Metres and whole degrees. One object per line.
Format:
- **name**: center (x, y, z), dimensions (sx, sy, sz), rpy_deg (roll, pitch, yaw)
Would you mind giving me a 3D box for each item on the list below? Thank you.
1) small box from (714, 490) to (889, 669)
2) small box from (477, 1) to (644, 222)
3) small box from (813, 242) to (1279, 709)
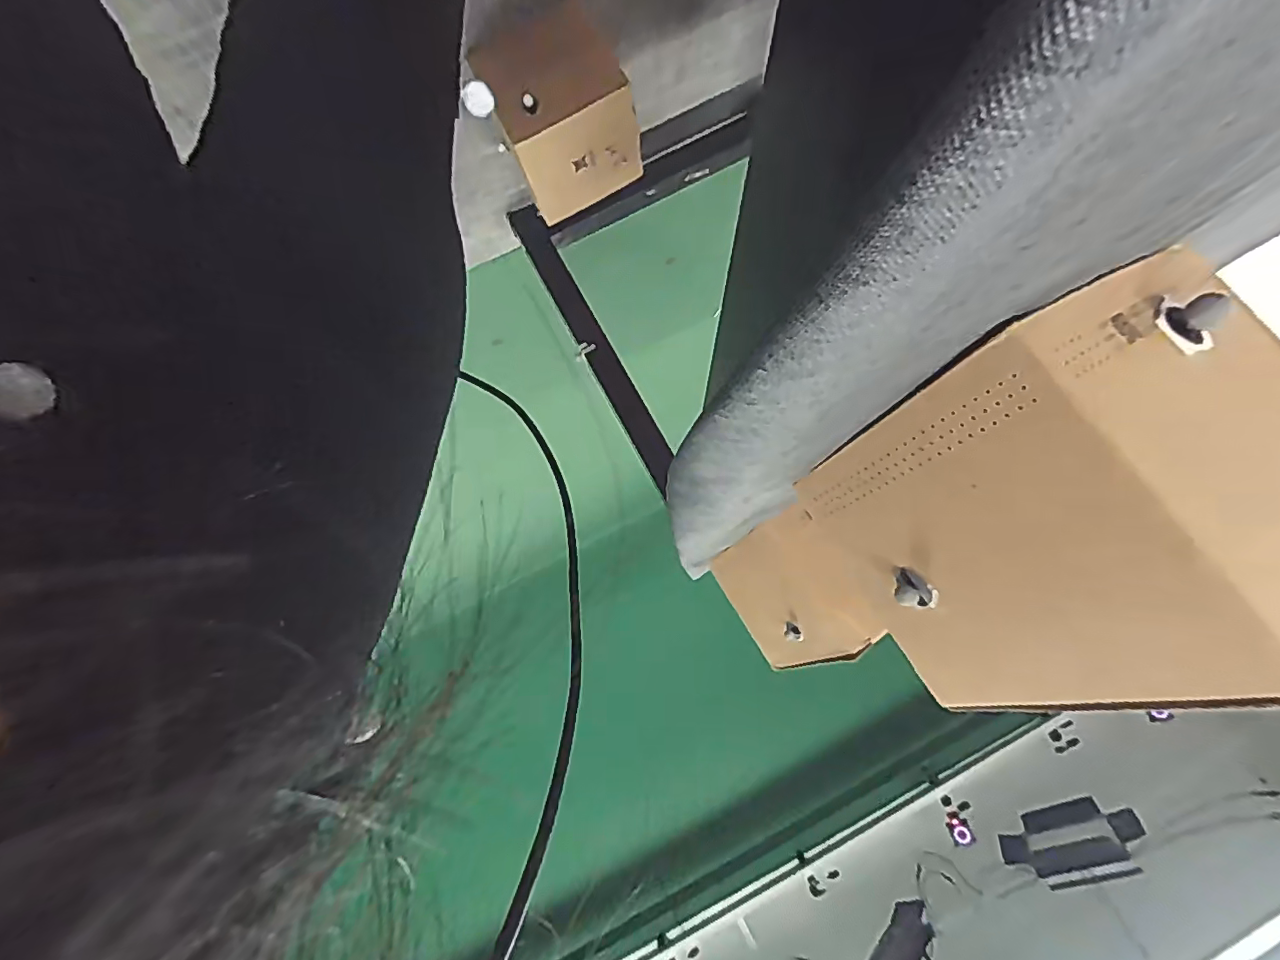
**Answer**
- **small box**: center (0.221, 0.113, 0.685), dimensions (0.168, 0.176, 0.179), rpy_deg (-25, 166, -25)
- **small box**: center (-0.115, -0.530, 0.791), dimensions (0.179, 0.176, 0.168), rpy_deg (-29, 168, 1)
- **small box**: center (0.228, 0.005, 0.303), dimensions (0.168, 0.176, 0.179), rpy_deg (-26, 166, -24)
